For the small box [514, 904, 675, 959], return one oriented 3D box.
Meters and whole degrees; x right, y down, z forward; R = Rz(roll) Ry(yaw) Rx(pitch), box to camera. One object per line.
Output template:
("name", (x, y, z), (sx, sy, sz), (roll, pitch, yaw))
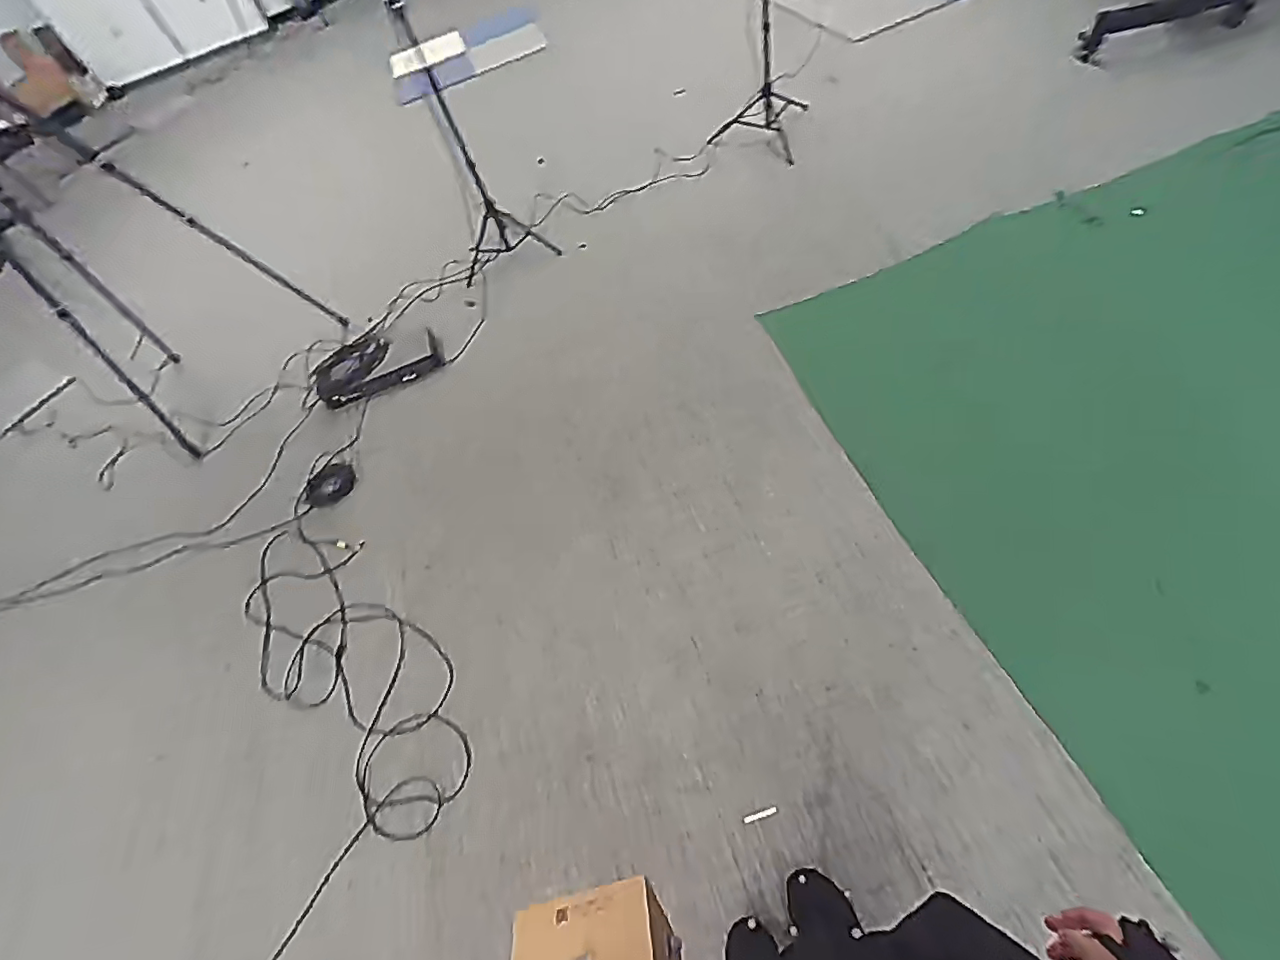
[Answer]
("small box", (-0.040, 0.615, 0.602), (0.168, 0.179, 0.176), (-19, 25, -1))
